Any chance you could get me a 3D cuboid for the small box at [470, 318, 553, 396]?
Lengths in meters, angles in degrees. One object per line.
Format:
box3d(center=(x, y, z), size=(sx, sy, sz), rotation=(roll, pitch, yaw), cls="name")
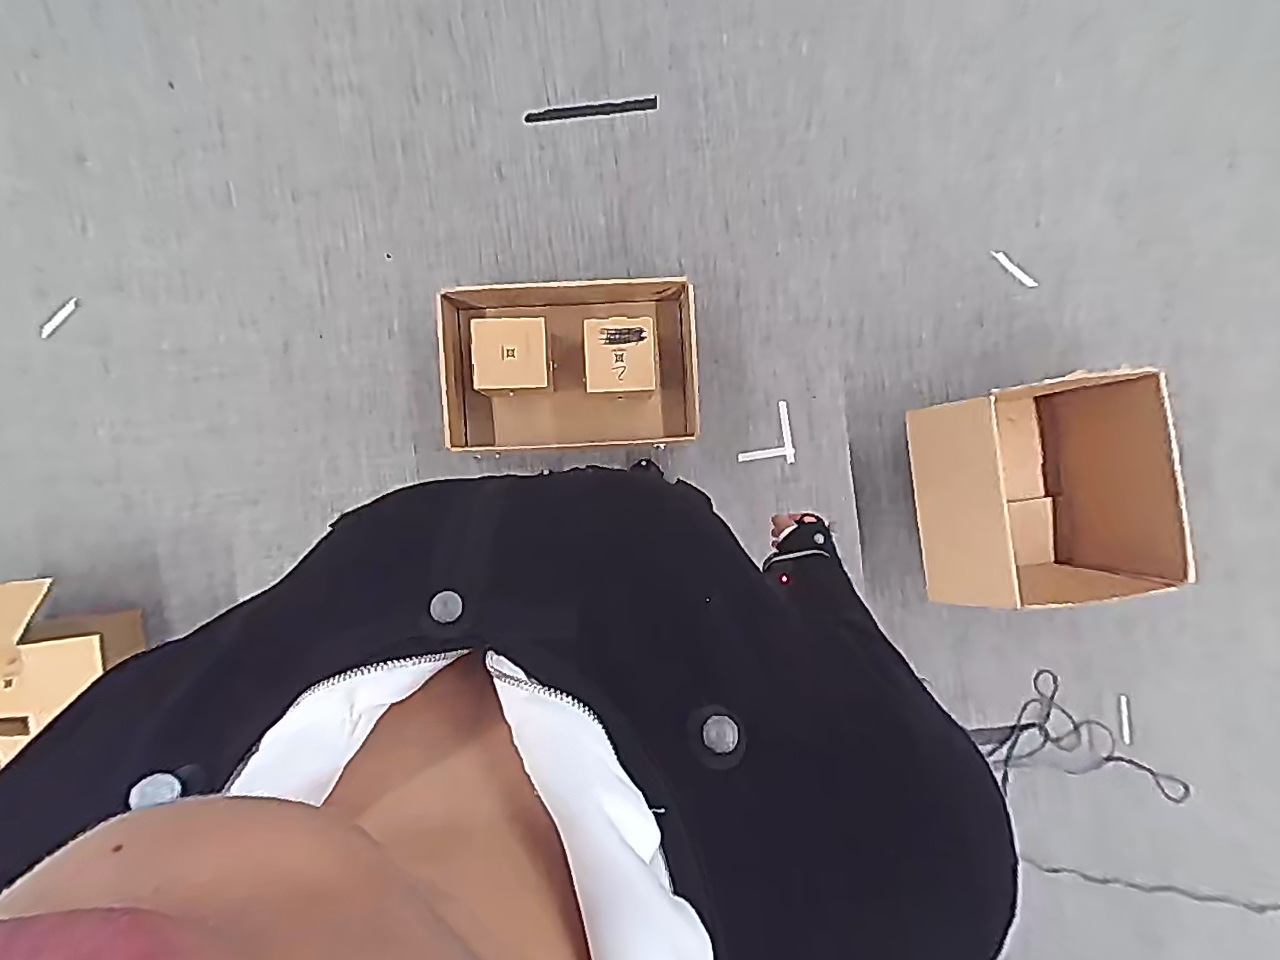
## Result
box3d(center=(-0.317, -0.304, 1.360), size=(0.179, 0.176, 0.168), rotation=(-3, 93, -4), cls="small box")
